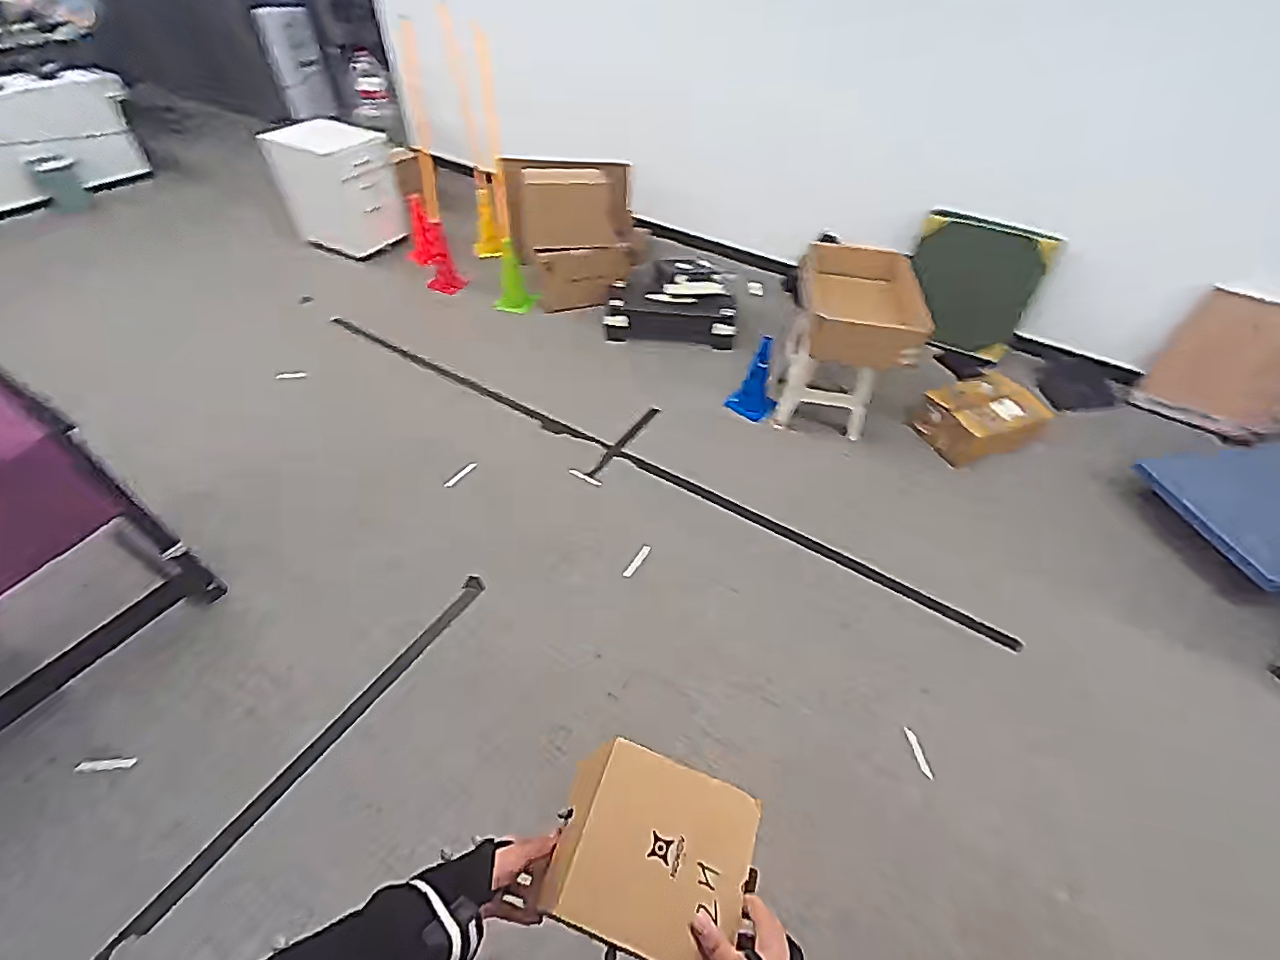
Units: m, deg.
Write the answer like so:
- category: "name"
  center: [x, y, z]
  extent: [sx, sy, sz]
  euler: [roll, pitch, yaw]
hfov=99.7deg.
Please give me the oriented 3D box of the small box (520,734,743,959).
- category: "small box"
  center: [-0.015, 0.418, 0.606]
  extent: [0.179, 0.176, 0.168]
  euler: [29, 50, -3]
